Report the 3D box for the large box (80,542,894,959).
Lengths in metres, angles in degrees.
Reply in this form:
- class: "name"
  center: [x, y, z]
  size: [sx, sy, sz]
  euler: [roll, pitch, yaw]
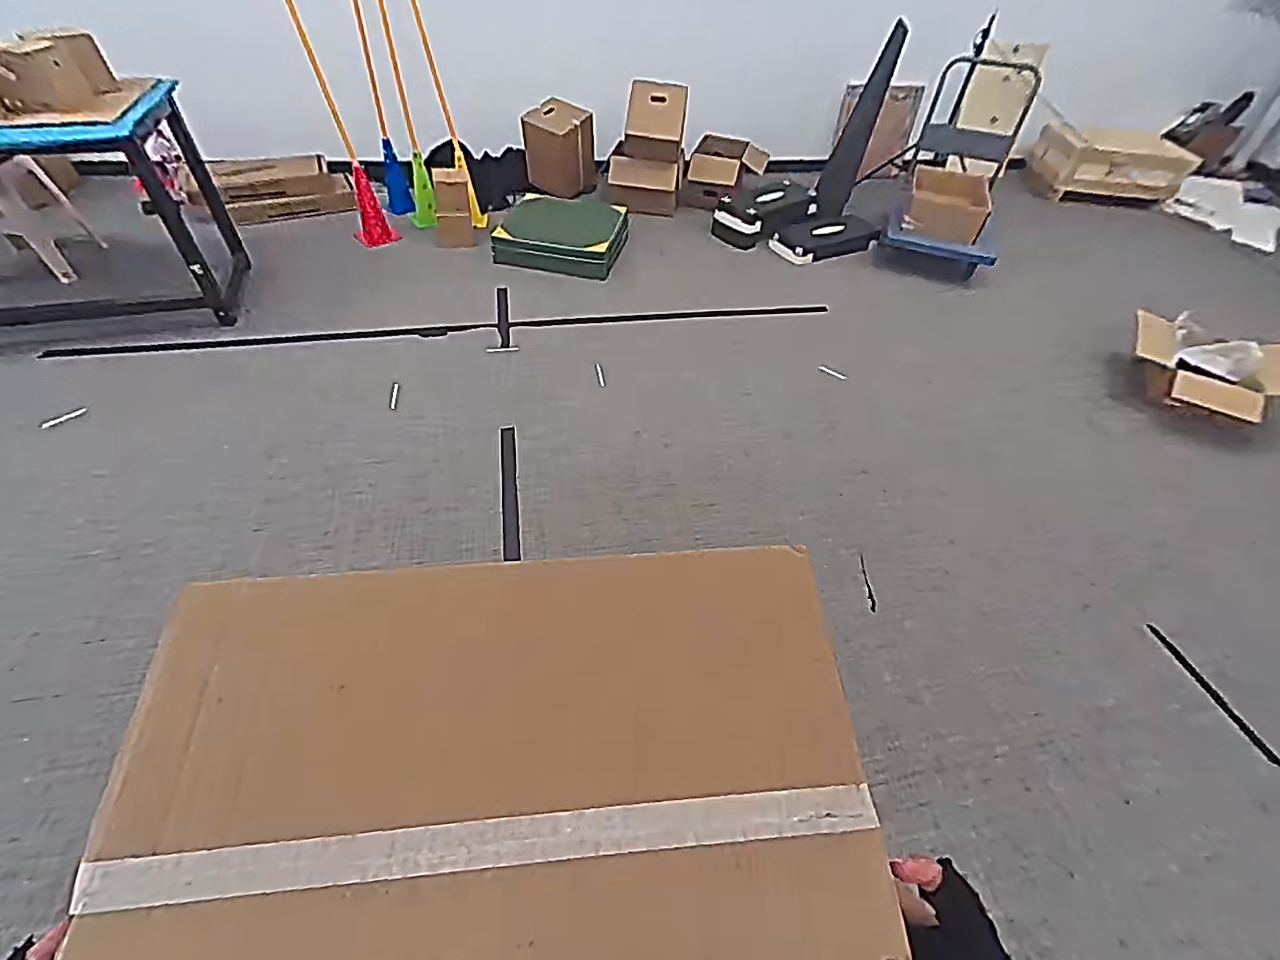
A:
- class: "large box"
  center: [-0.082, 0.263, 0.424]
  size: [0.408, 0.320, 0.320]
  euler: [-3, 61, -4]
